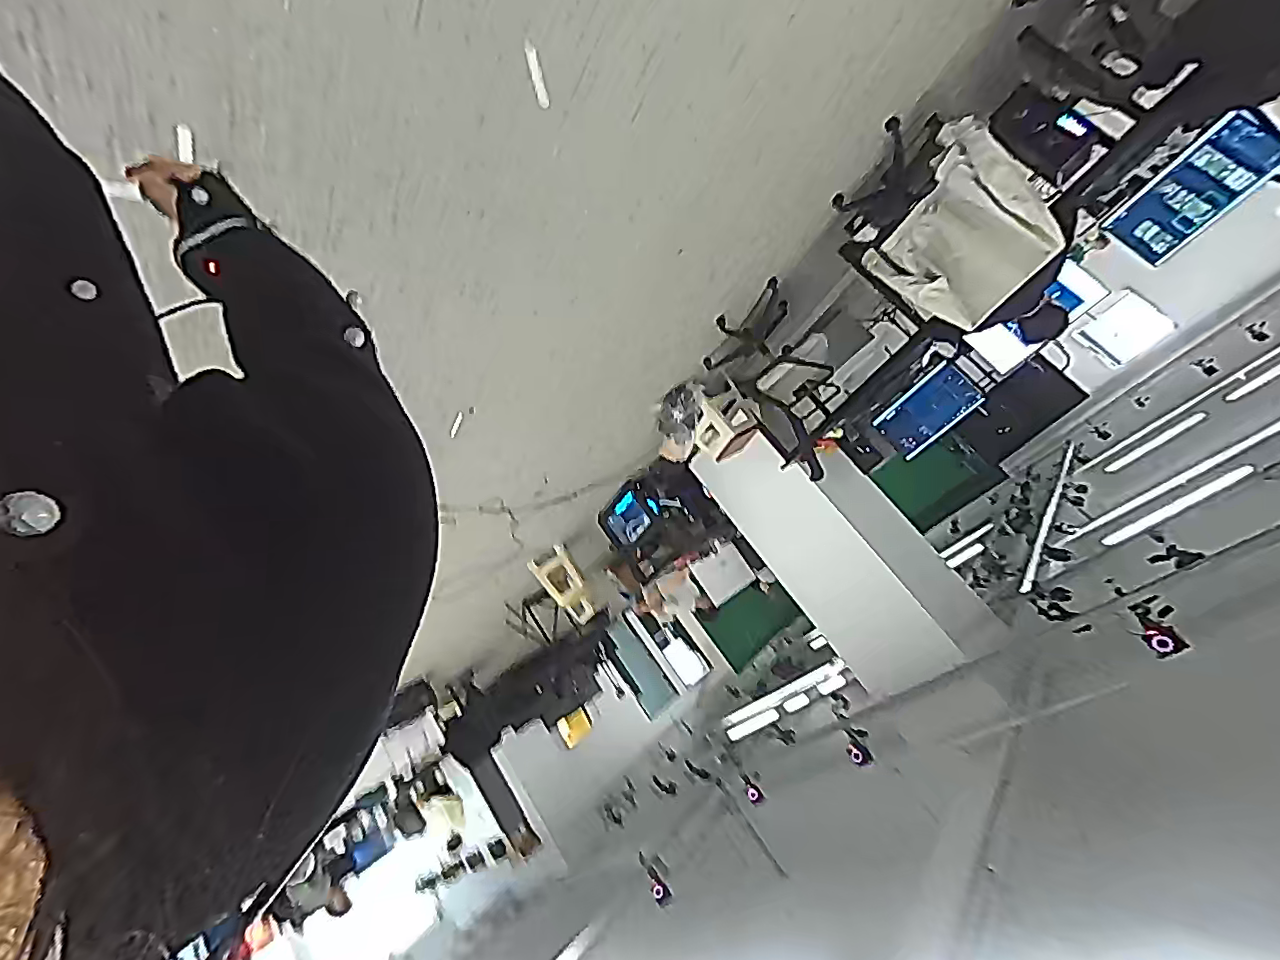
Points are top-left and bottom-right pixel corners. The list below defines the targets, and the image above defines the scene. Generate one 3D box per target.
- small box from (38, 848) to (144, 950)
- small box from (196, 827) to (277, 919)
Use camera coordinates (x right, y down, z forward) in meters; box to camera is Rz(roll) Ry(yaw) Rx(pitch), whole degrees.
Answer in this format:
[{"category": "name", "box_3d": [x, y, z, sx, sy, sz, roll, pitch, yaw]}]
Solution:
[{"category": "small box", "box_3d": [-1.602, 1.221, 1.583, 0.179, 0.176, 0.168, -20, 156, -45]}, {"category": "small box", "box_3d": [-1.314, 1.276, 1.759, 0.179, 0.176, 0.168, -22, 158, -42]}]
